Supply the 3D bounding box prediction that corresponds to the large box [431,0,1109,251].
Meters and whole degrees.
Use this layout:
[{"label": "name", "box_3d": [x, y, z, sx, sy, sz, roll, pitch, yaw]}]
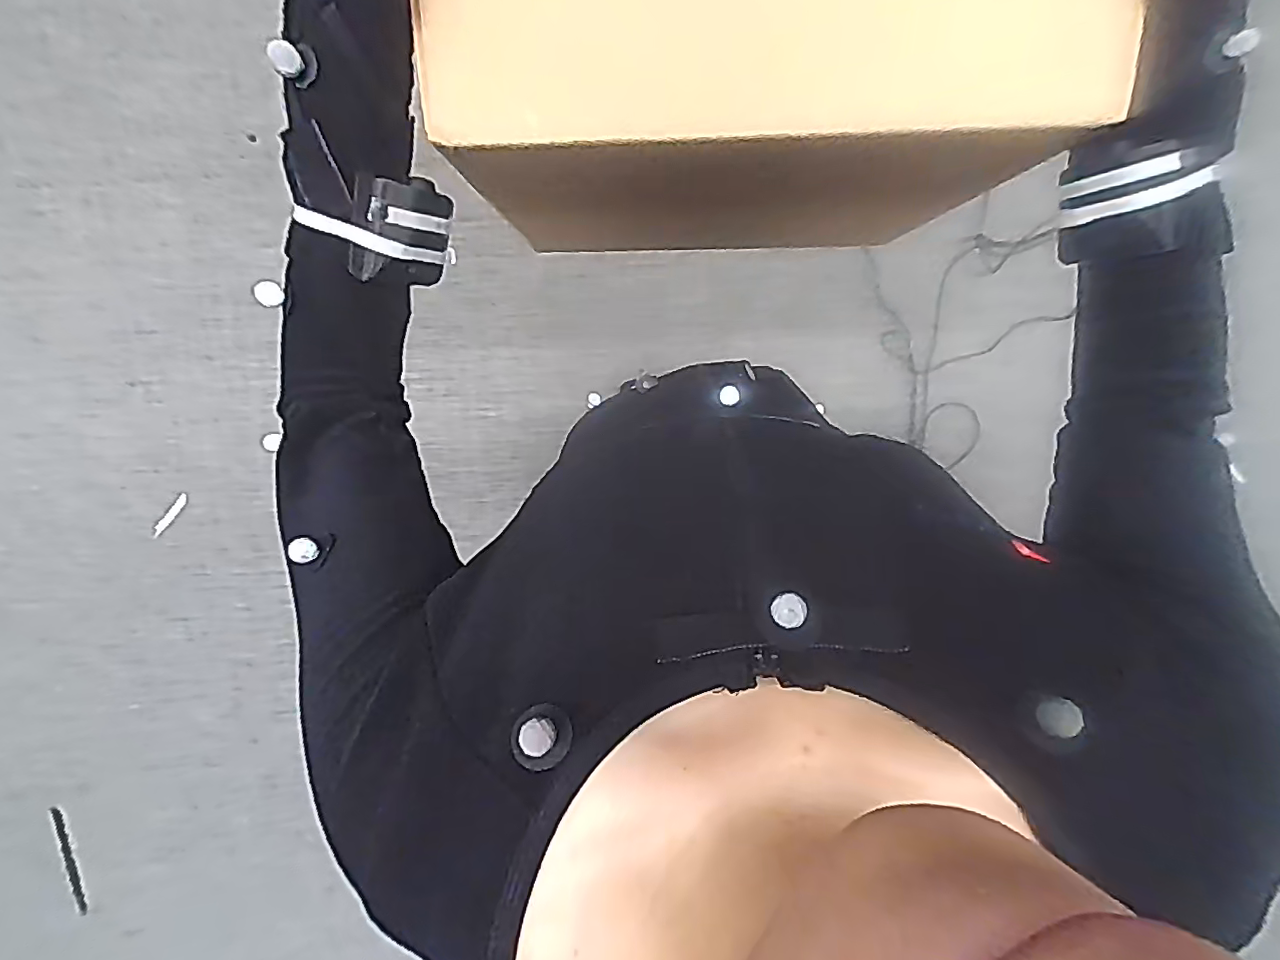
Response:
[{"label": "large box", "box_3d": [0.070, -0.392, 0.445, 0.408, 0.320, 0.320, -2, 102, 0]}]
